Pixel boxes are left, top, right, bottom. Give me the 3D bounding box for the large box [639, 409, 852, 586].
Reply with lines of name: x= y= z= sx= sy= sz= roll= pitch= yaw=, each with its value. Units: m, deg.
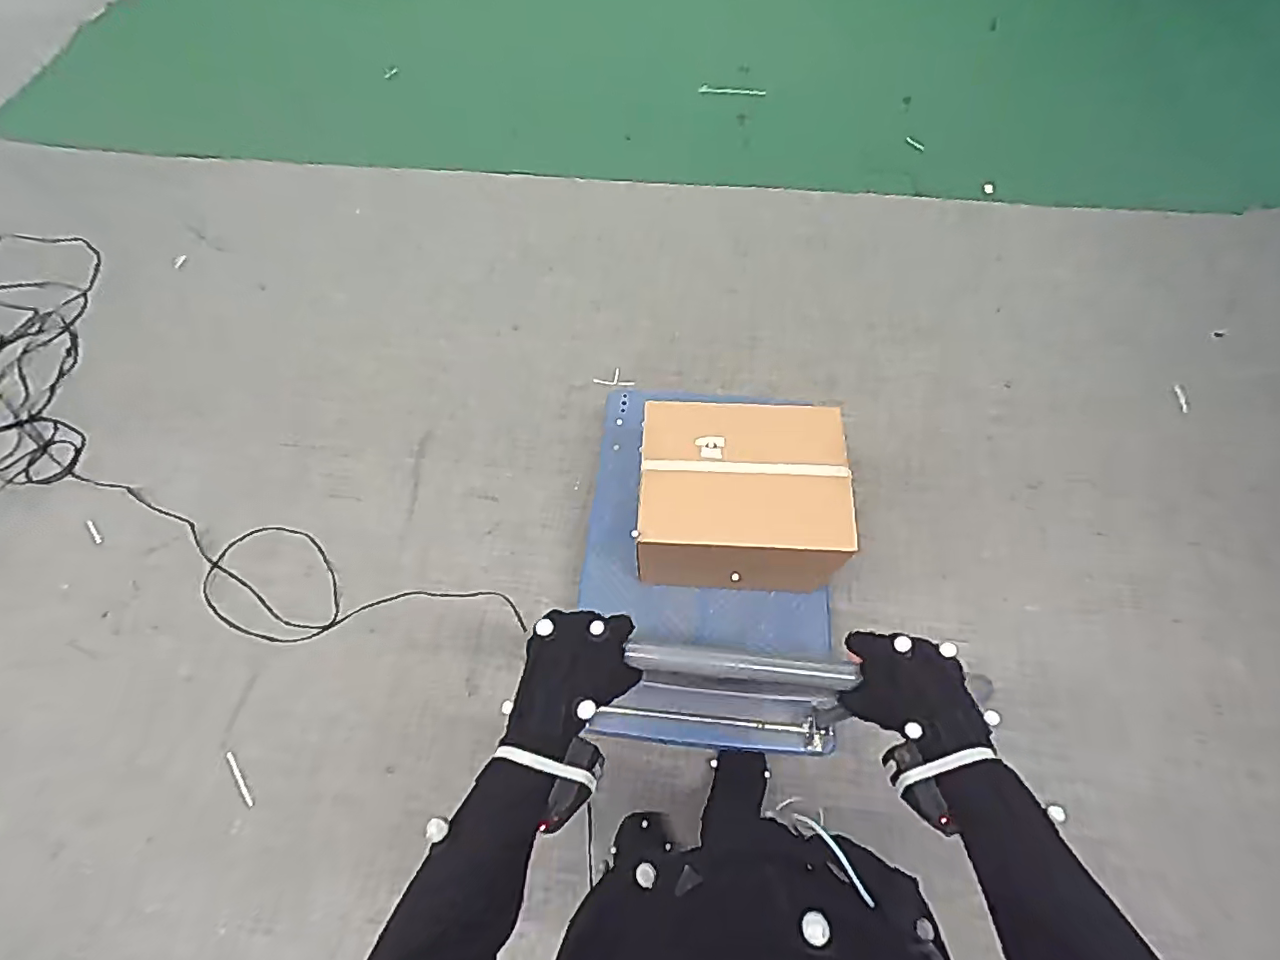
large box: x=0.208 y=0.052 z=1.206 sx=0.408 sy=0.320 sz=0.320 roll=1 pitch=64 yaw=3
